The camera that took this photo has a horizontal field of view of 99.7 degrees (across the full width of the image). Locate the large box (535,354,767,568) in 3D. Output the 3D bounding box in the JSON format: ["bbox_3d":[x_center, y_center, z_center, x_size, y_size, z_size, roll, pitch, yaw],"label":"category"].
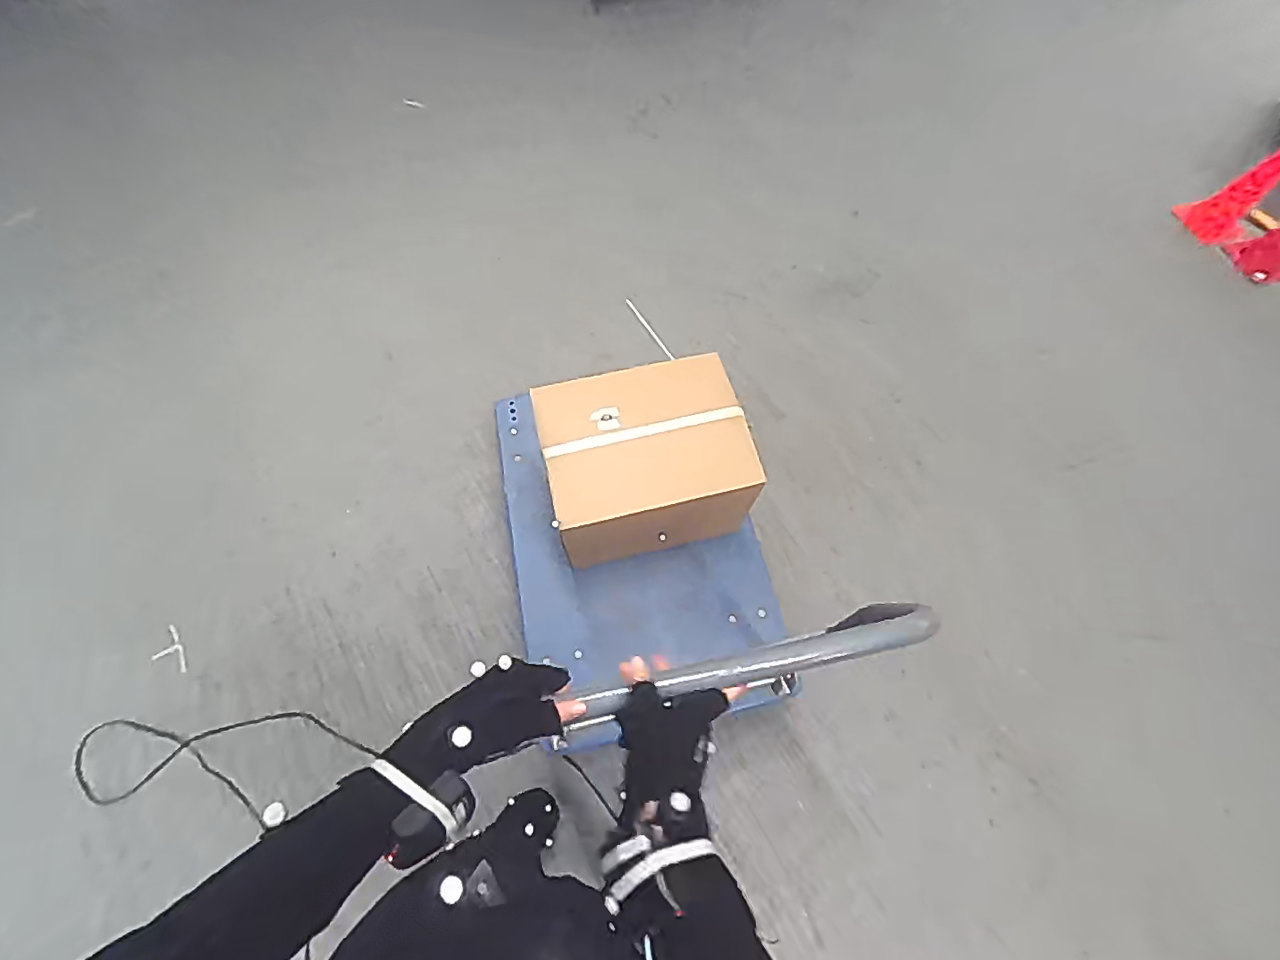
[{"bbox_3d":[0.014,-0.028,1.207,0.408,0.320,0.320,-14,68,-7],"label":"large box"}]
